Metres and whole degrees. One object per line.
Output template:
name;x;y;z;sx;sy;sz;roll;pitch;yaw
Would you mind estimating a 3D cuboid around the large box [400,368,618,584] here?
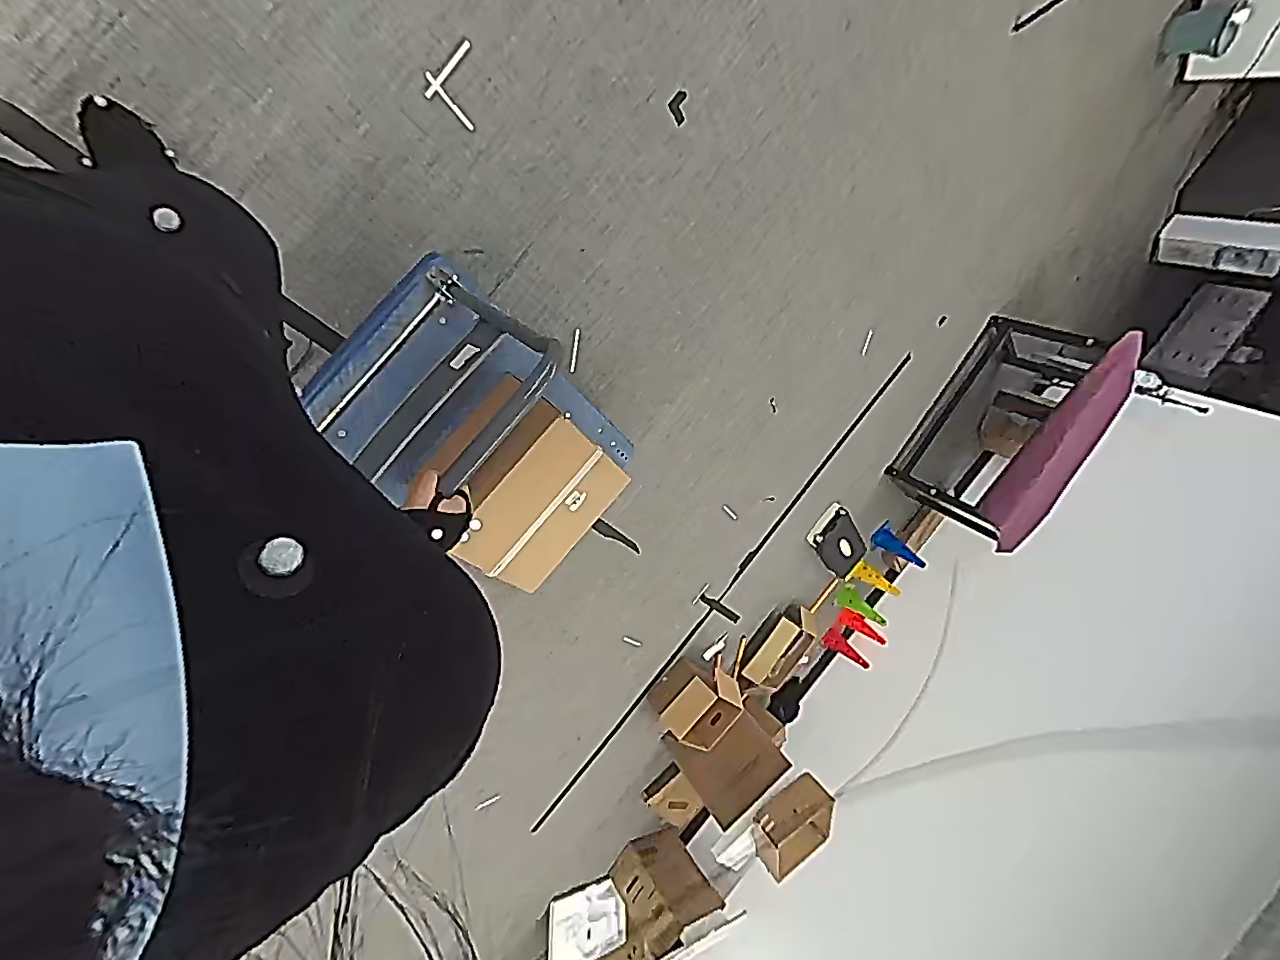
large box;-0.342;-0.013;1.413;0.408;0.320;0.320;-50;137;-4
